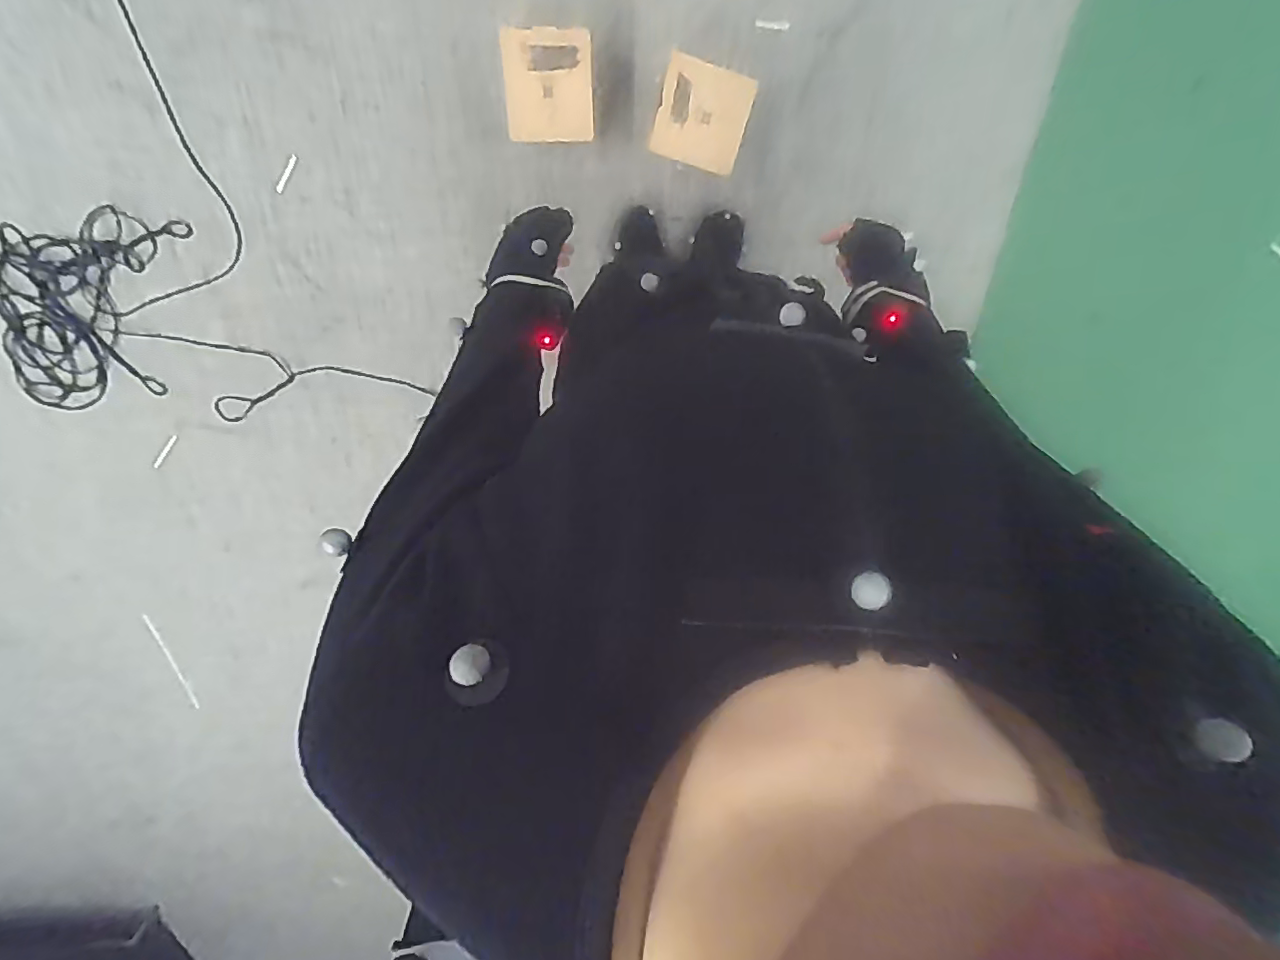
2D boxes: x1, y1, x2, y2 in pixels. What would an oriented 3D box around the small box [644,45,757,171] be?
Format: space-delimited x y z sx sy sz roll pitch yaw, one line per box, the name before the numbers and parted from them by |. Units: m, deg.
small box | 0.111 -0.741 1.099 0.179 0.176 0.168 13 118 -9
